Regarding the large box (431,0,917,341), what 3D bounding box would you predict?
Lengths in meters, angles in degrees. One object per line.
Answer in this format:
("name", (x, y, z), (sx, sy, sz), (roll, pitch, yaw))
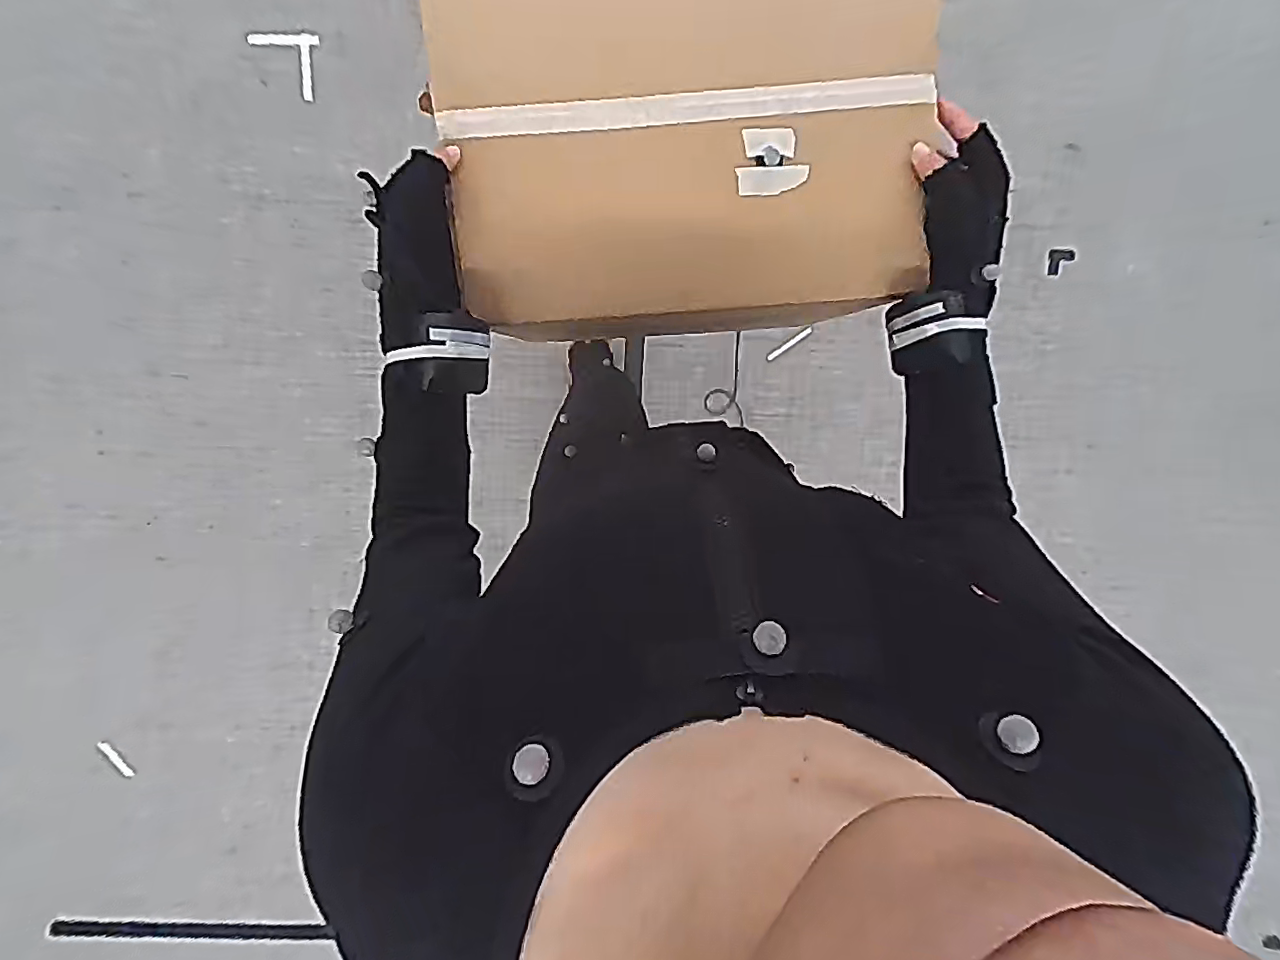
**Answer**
("large box", (0.031, -0.339, 0.605), (0.408, 0.320, 0.320), (-5, 102, -1))
